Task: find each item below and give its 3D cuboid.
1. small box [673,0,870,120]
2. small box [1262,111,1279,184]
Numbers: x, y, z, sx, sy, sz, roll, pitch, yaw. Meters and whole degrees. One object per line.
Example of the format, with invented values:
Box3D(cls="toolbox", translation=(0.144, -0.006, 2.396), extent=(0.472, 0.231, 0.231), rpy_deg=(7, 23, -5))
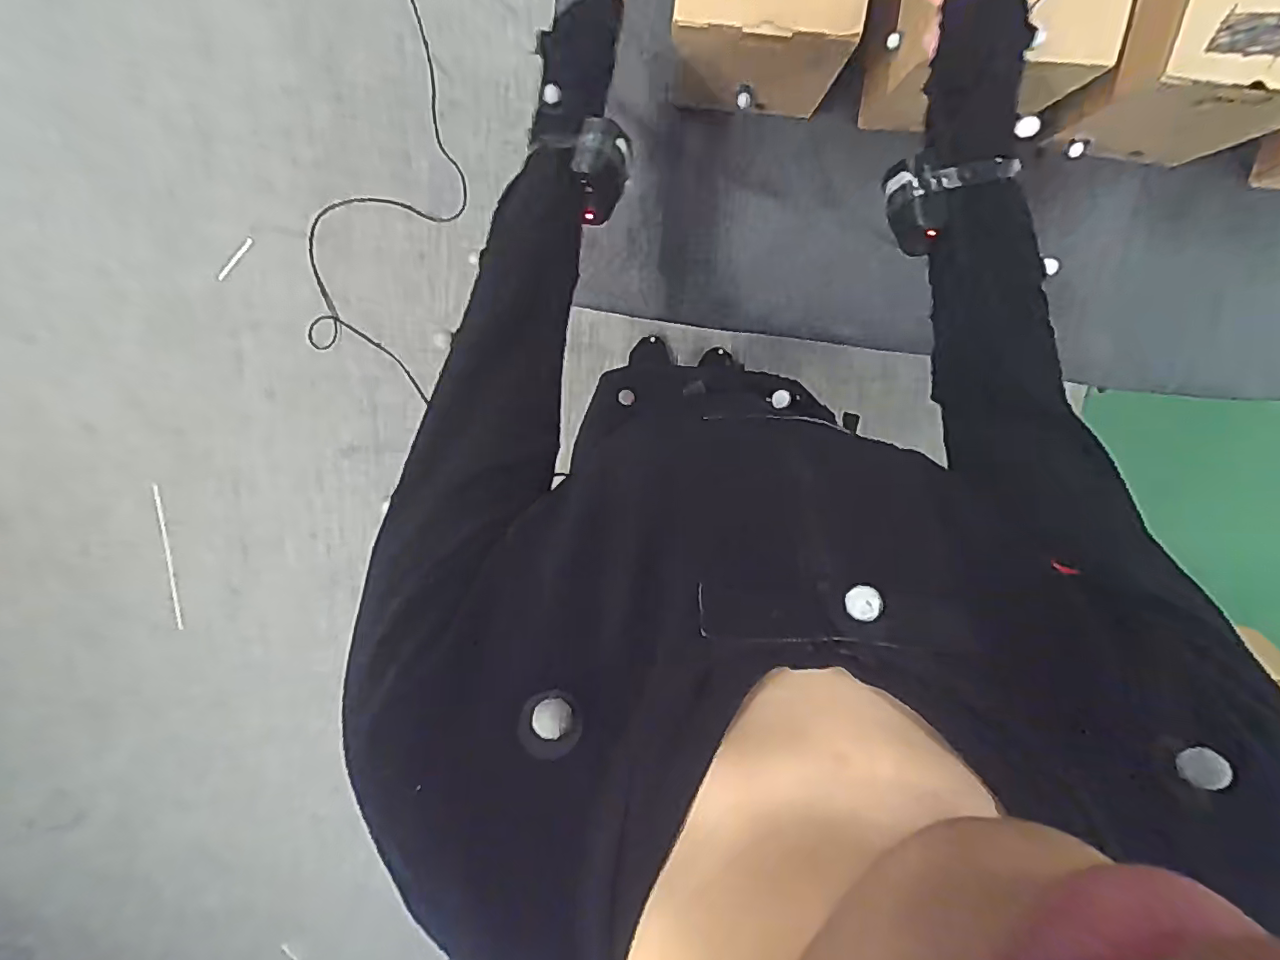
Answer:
Box3D(cls="small box", translation=(0.123, -0.488, 0.524), extent=(0.168, 0.176, 0.179), rpy_deg=(6, 104, 1))
Box3D(cls="small box", translation=(0.787, -0.388, 0.521), extent=(0.168, 0.176, 0.179), rpy_deg=(6, 104, 1))
